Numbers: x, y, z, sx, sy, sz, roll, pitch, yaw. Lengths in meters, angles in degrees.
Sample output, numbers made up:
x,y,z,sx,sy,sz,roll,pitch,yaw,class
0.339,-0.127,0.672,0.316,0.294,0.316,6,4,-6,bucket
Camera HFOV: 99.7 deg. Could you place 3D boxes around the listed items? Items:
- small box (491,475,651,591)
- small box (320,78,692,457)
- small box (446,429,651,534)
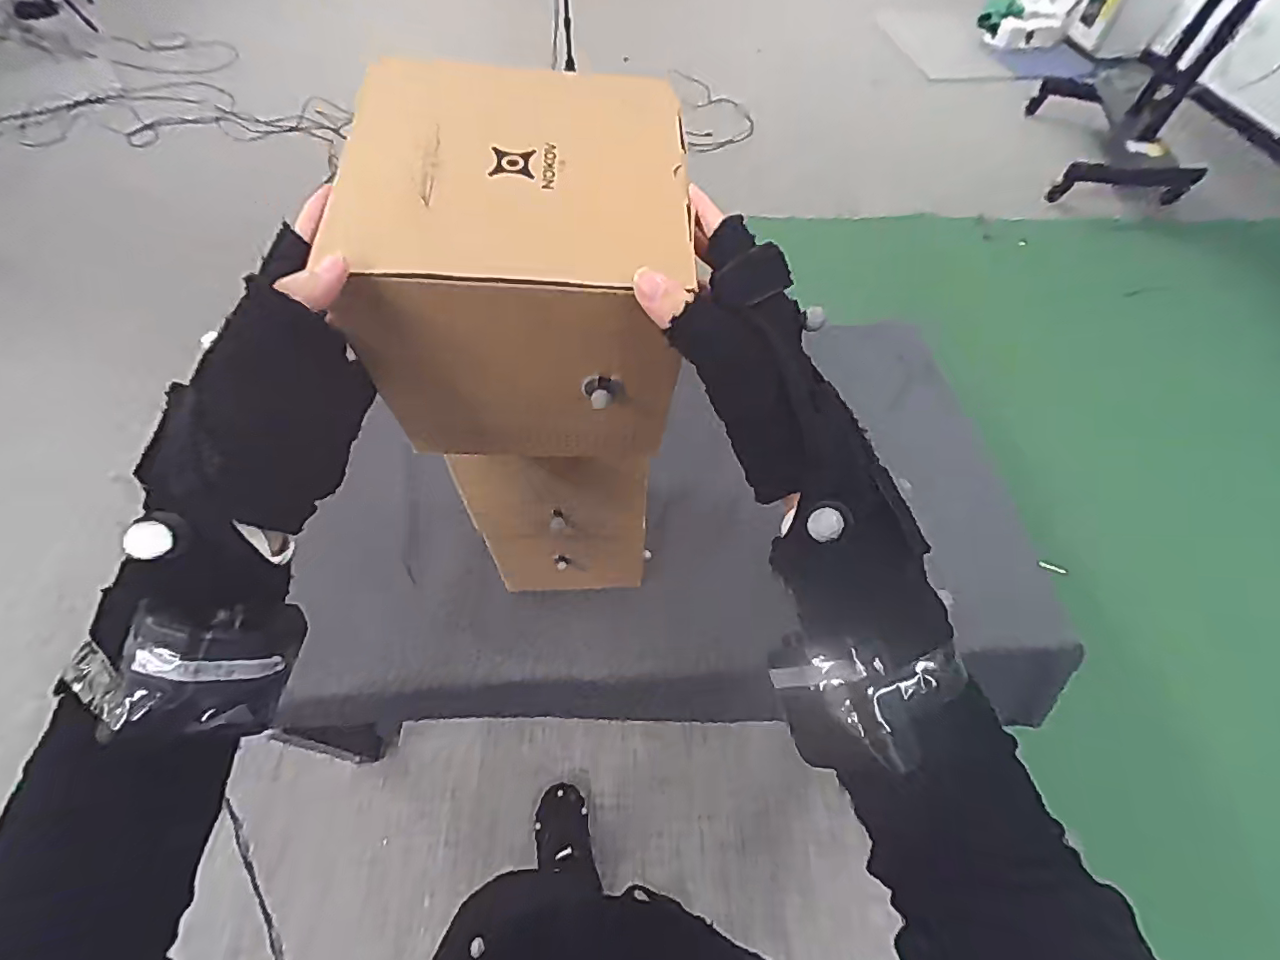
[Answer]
x,y,z,sx,sy,sz,roll,pitch,yaw,class
-0.088,0.032,0.695,0.179,0.176,0.168,-4,57,-6,small box
-0.070,-0.124,0.360,0.179,0.176,0.168,-1,64,-5,small box
-0.085,-0.054,0.556,0.179,0.176,0.168,0,56,-3,small box
